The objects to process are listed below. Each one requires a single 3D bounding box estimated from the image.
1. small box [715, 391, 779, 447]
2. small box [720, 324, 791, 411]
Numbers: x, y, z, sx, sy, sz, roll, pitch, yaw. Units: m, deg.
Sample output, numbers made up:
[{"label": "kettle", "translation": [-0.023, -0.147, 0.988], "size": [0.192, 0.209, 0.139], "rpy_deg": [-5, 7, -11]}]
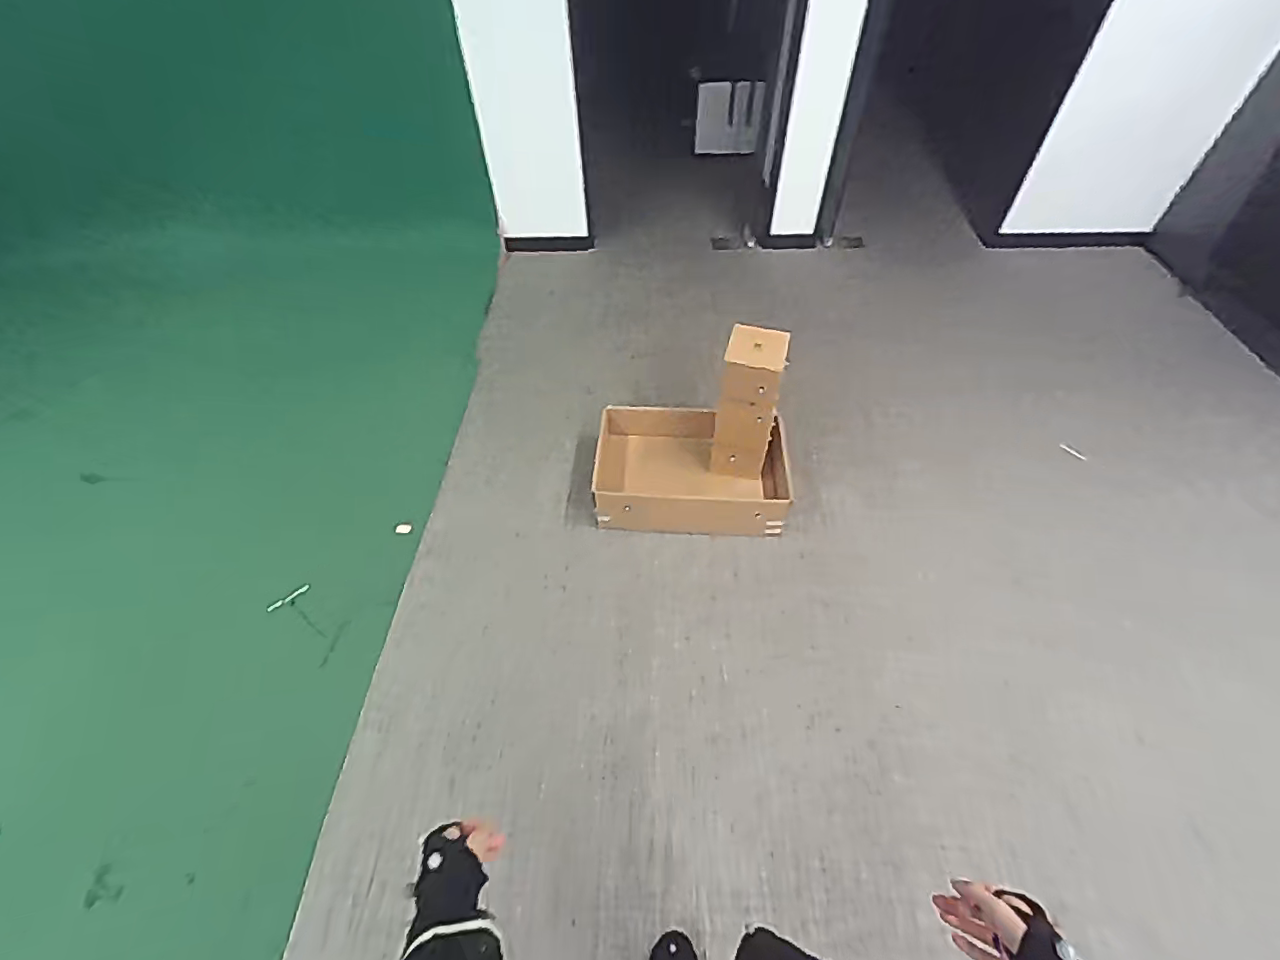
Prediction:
[{"label": "small box", "translation": [0.336, -0.223, 1.710], "size": [0.179, 0.176, 0.168], "rpy_deg": [10, 53, 10]}, {"label": "small box", "translation": [0.335, -0.326, 1.584], "size": [0.168, 0.176, 0.179], "rpy_deg": [13, 53, 11]}]
